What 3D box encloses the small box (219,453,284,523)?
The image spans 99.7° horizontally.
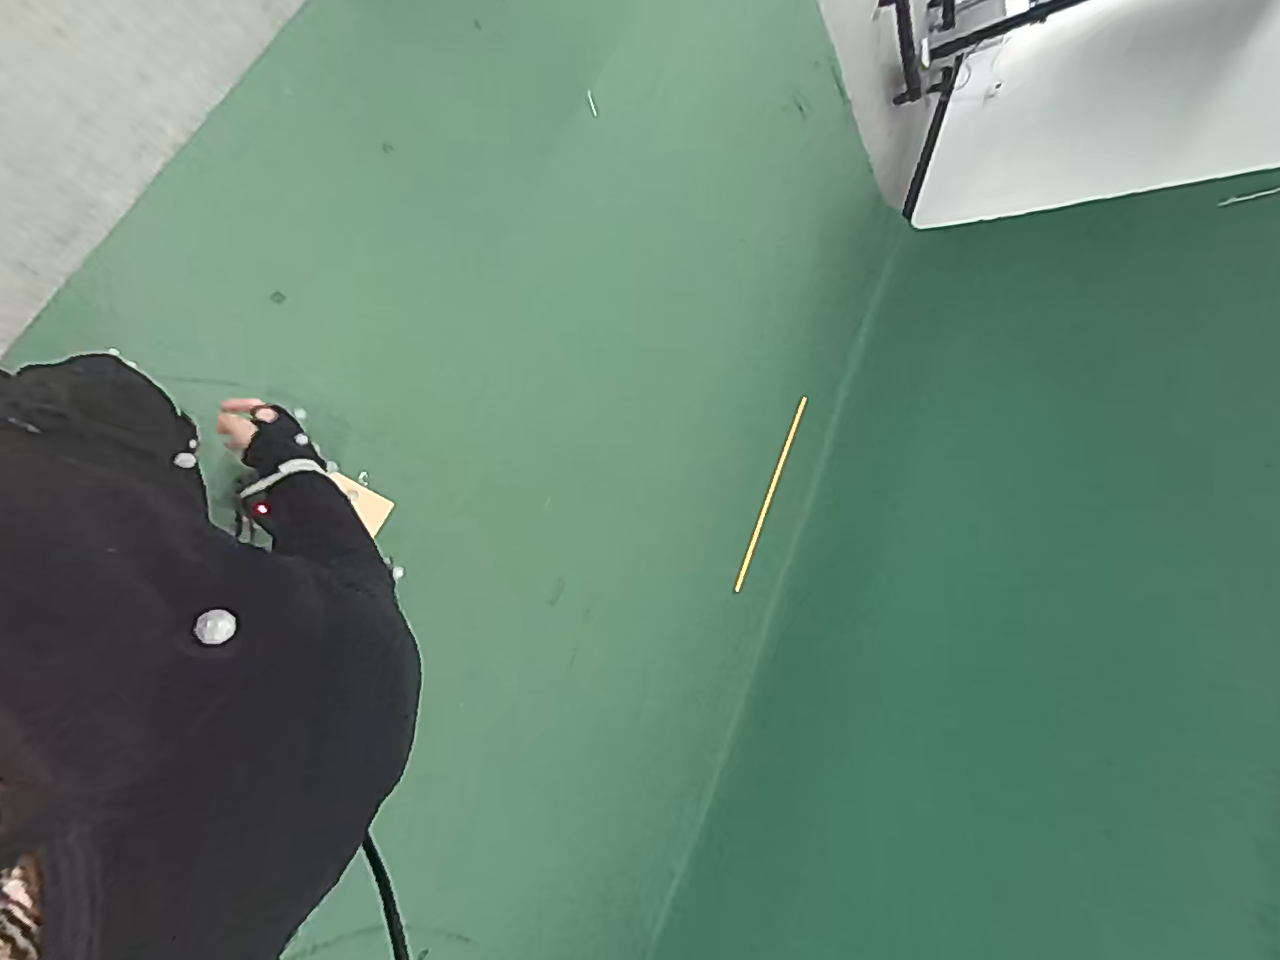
[{"bbox_3d":[-0.842,0.046,1.273,0.179,0.176,0.168,41,66,-45],"label":"small box"}]

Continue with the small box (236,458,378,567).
[{"bbox_3d":[-0.717,0.064,1.166,0.179,0.176,0.168,44,64,-44],"label":"small box"}]
